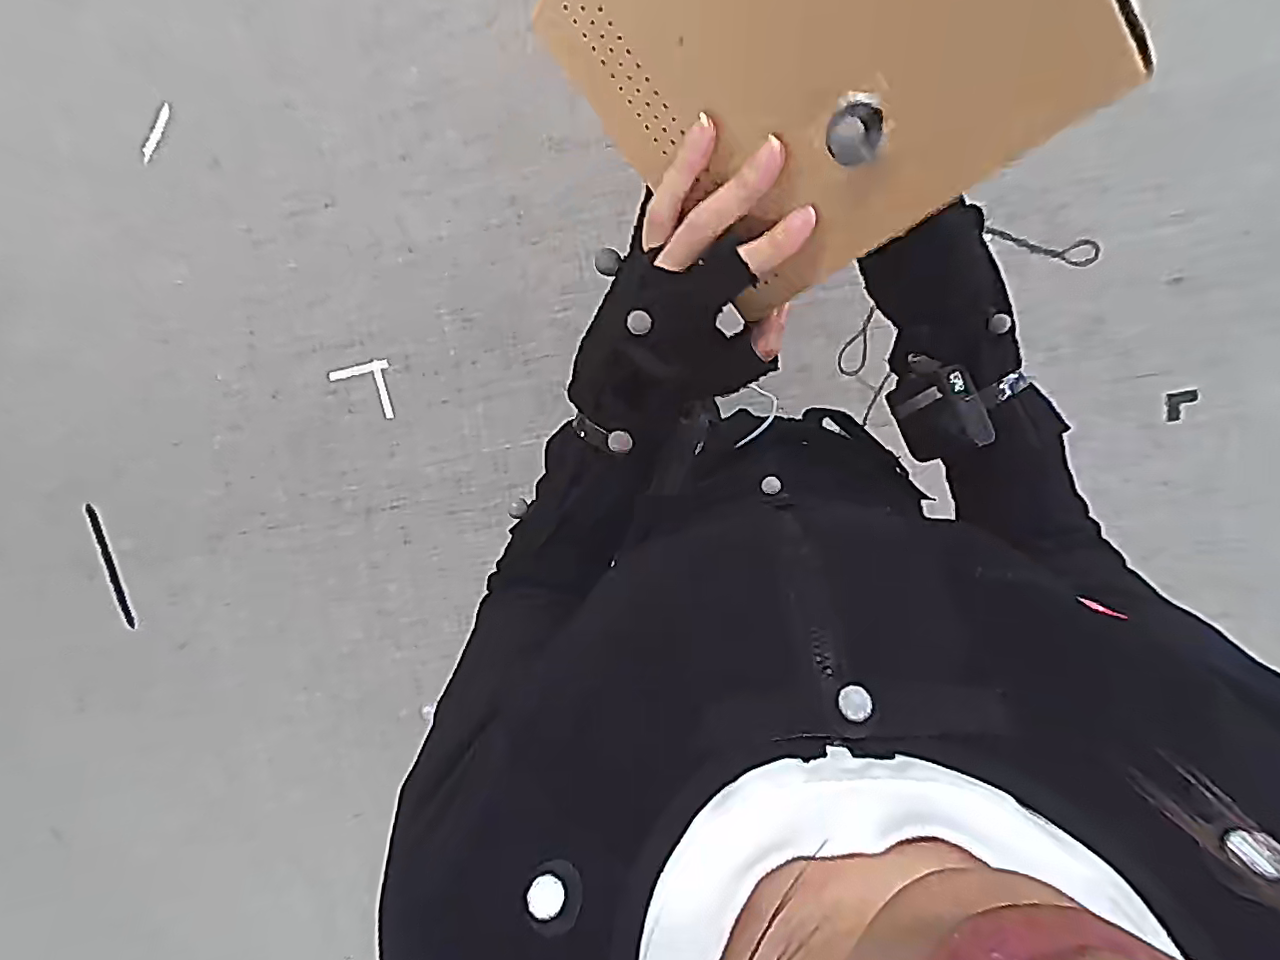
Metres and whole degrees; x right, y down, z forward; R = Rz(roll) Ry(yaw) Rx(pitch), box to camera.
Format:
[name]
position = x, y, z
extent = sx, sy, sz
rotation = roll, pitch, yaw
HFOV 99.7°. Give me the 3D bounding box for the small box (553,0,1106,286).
[small box]
position = 0.094, -0.224, 0.268
extent = 0.179, 0.168, 0.176
rotation = 50, 142, -16
